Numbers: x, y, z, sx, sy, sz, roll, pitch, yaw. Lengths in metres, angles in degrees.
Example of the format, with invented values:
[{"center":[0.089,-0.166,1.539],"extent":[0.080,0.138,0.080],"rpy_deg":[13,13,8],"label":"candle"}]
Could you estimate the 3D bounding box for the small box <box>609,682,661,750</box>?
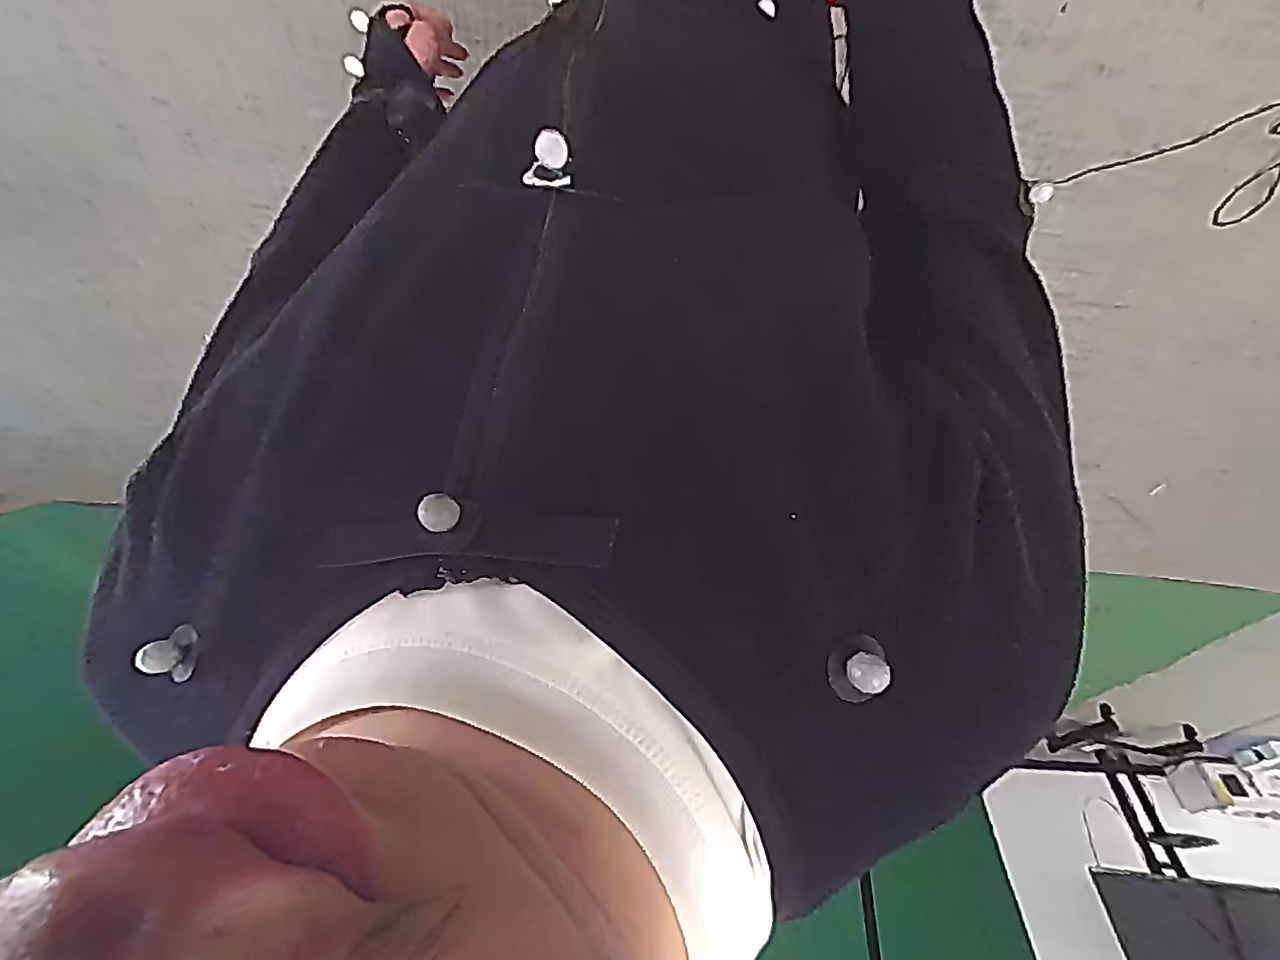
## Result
[{"center":[-0.015,0.794,1.821],"extent":[0.168,0.176,0.179],"rpy_deg":[1,139,4],"label":"small box"}]
